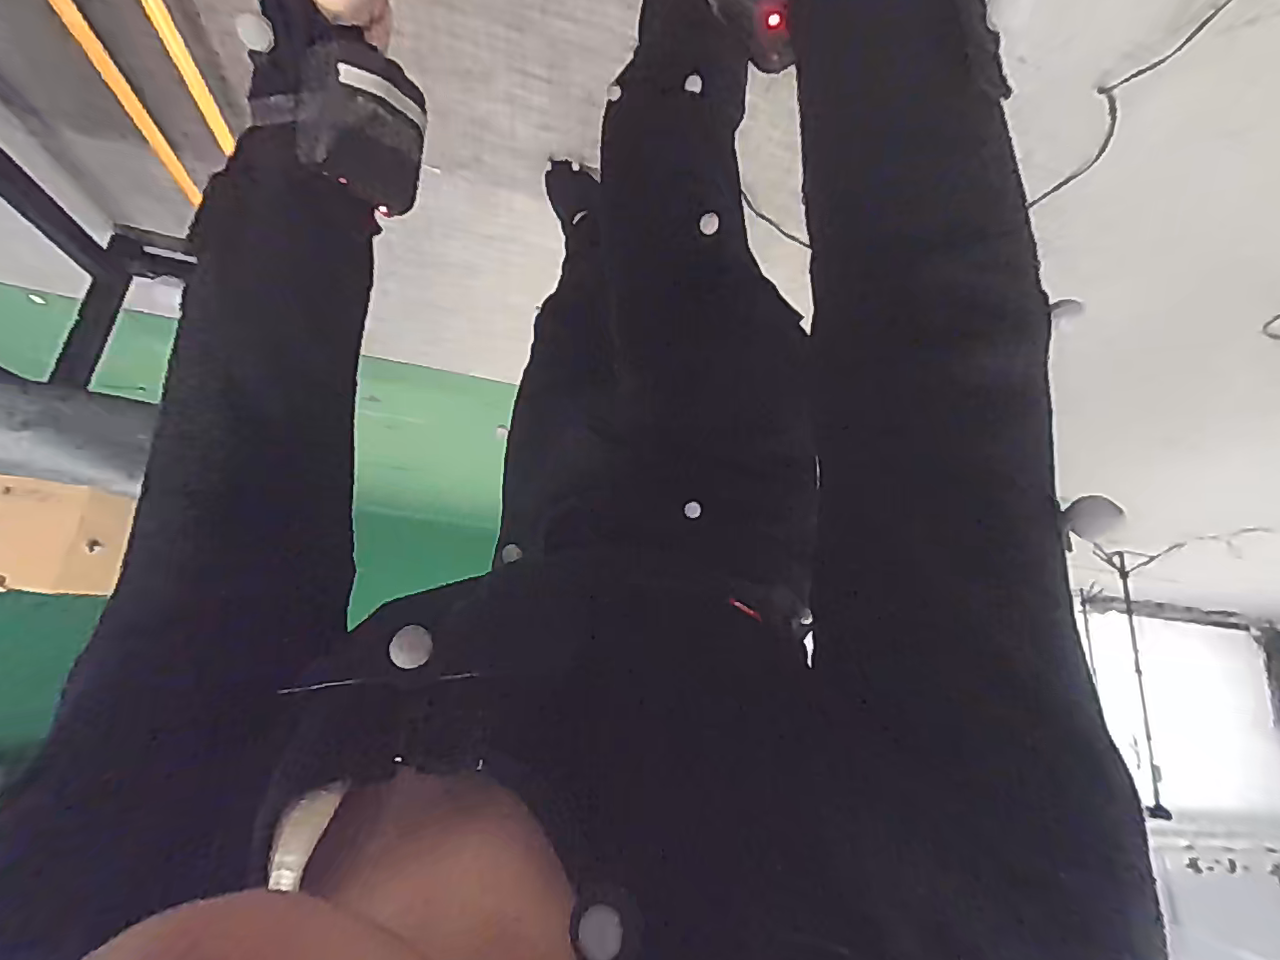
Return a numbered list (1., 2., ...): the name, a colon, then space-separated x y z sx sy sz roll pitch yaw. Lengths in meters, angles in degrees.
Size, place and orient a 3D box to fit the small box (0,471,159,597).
1. small box: -0.947 0.092 0.877 0.168 0.176 0.179 10 164 -9
